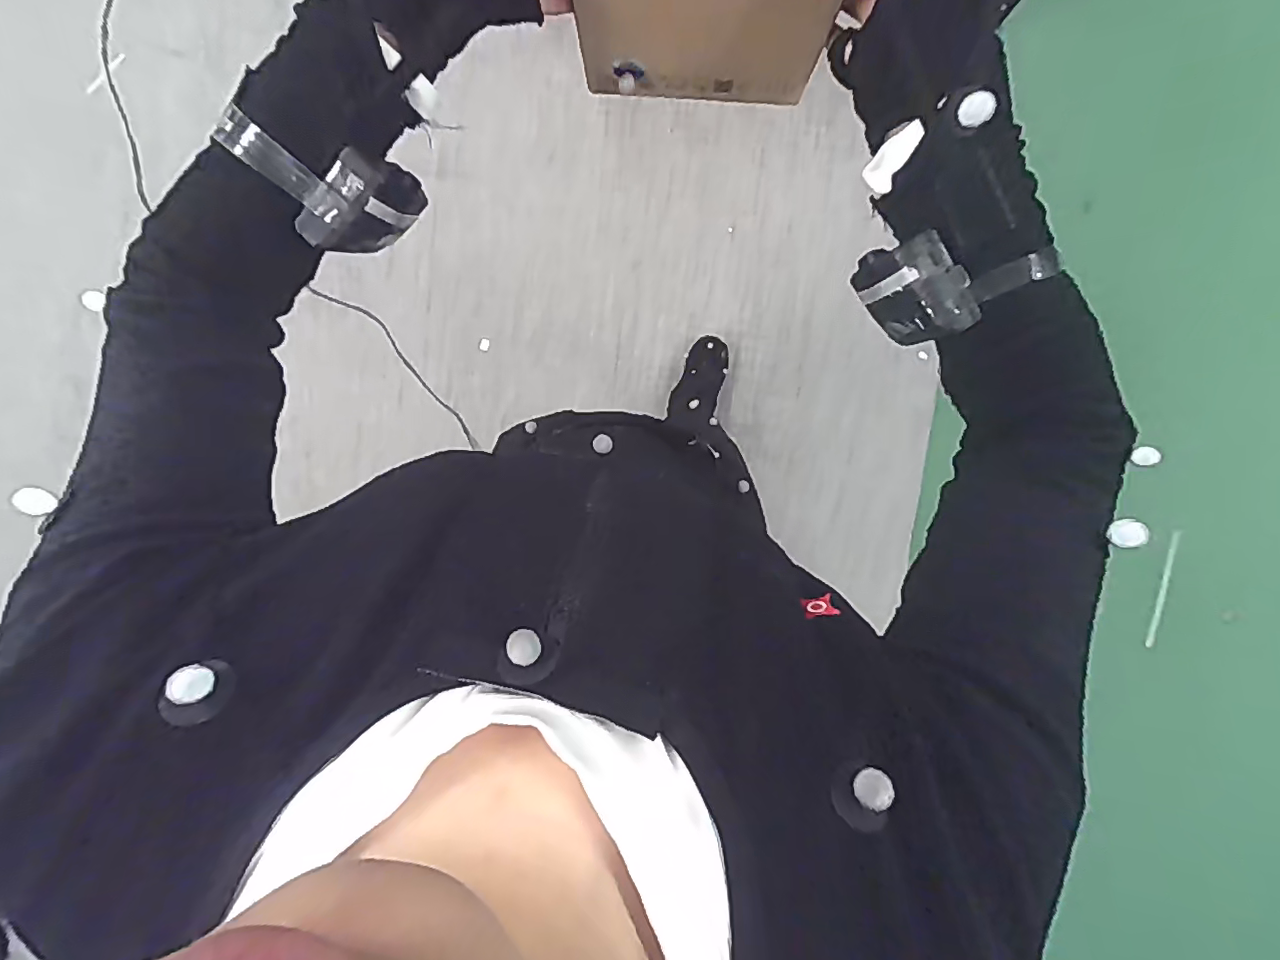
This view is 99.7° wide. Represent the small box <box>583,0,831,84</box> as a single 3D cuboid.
[{"bbox_3d":[0.048,-0.384,0.331,0.168,0.176,0.179,4,95,1],"label":"small box"}]
